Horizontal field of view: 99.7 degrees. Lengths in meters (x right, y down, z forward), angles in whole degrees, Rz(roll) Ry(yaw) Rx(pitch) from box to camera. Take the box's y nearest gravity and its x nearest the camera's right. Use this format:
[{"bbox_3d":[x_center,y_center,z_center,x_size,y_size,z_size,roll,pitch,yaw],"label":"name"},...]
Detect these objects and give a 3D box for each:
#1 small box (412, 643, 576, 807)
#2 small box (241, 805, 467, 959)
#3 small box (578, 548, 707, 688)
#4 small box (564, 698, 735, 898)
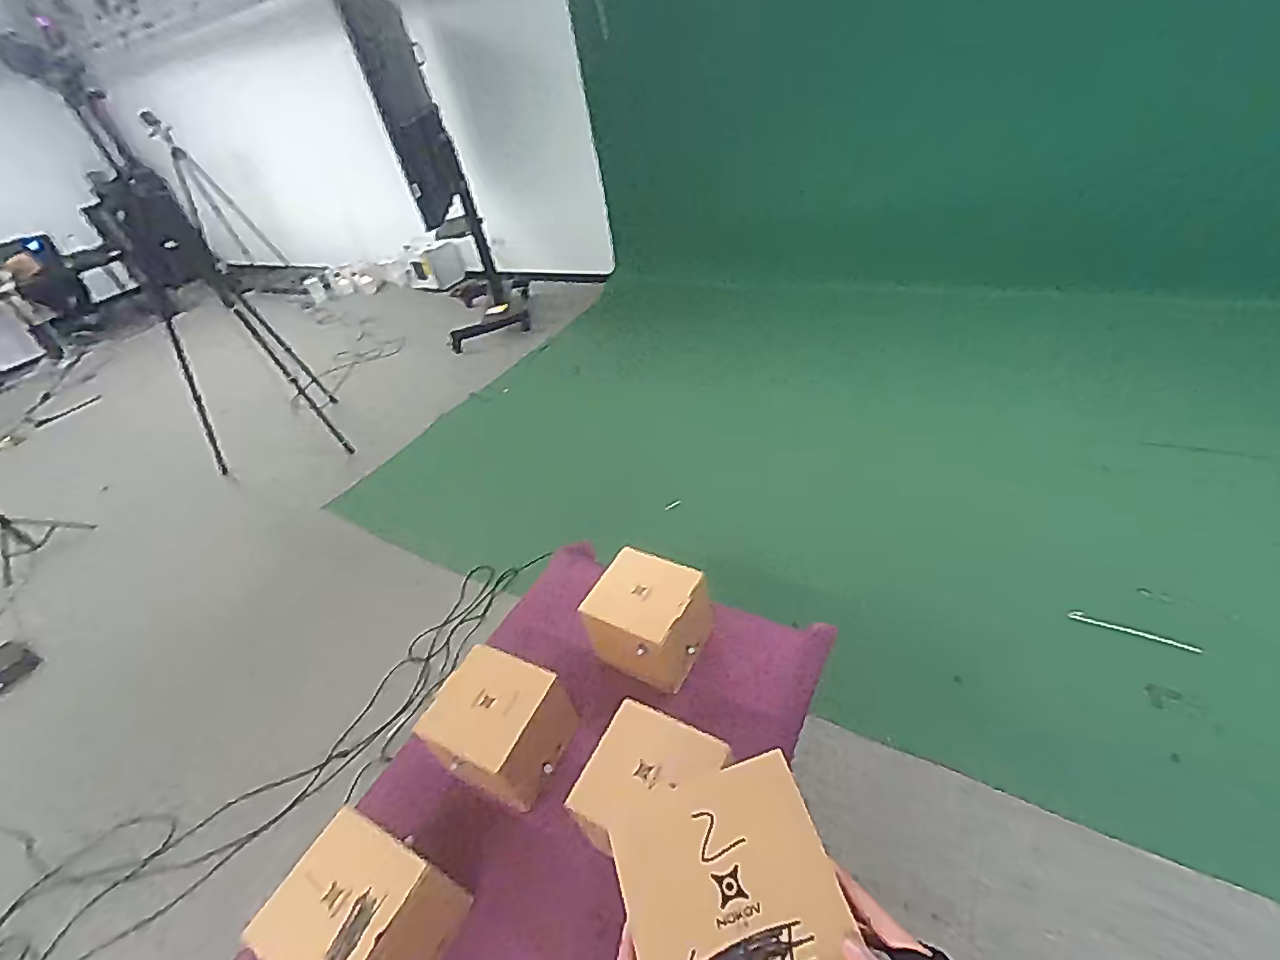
[{"bbox_3d":[-0.234,0.411,0.907,0.179,0.176,0.168,12,46,26],"label":"small box"},{"bbox_3d":[-0.369,0.586,0.729,0.179,0.176,0.168,12,44,27],"label":"small box"},{"bbox_3d":[0.014,0.261,1.024,0.179,0.176,0.168,15,46,28],"label":"small box"},{"bbox_3d":[0.024,0.458,0.781,0.179,0.176,0.168,13,46,29],"label":"small box"}]
